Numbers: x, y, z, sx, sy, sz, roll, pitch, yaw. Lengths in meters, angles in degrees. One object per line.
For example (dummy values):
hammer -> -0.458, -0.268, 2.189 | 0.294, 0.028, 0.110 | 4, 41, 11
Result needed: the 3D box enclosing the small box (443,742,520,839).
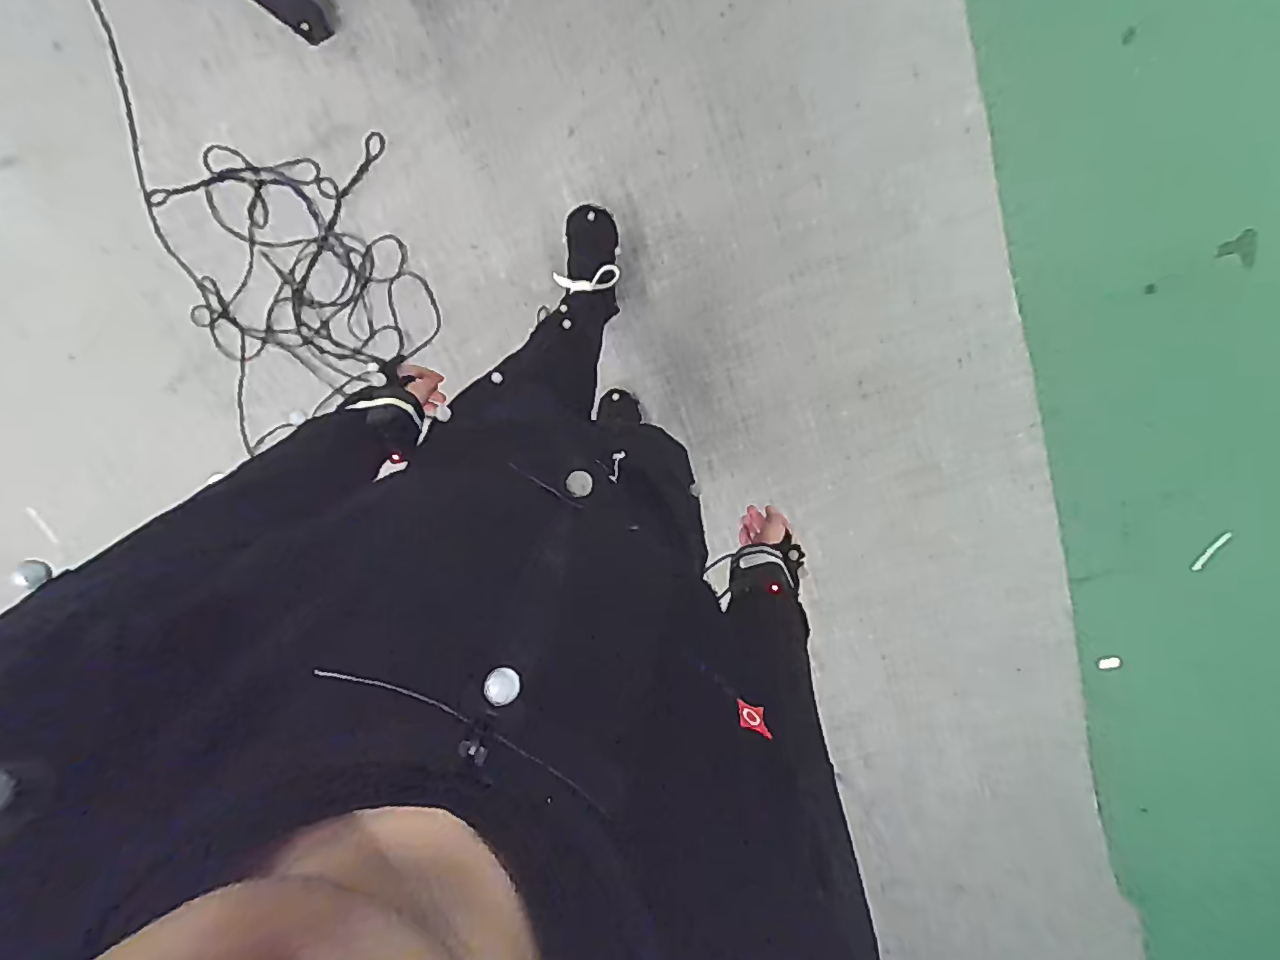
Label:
small box -> -0.448, 0.890, 1.556 | 0.168, 0.176, 0.179 | 0, 106, 2
